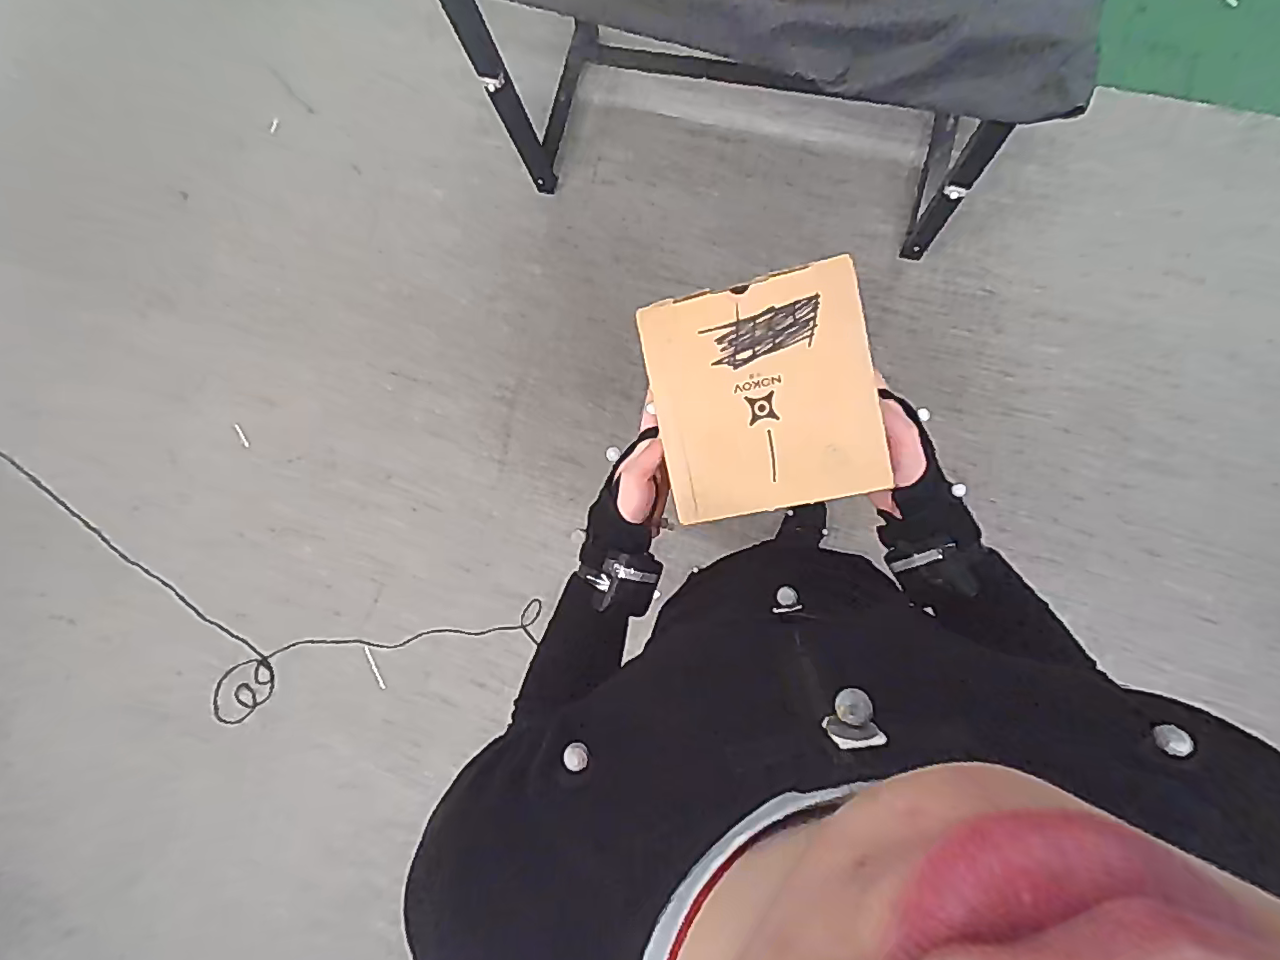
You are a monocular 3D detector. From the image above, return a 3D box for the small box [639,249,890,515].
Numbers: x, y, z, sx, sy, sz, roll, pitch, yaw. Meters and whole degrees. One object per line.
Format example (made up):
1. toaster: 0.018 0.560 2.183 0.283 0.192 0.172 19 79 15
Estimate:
1. small box: 0.106 -0.077 0.488 0.168 0.176 0.179 -11 94 12
